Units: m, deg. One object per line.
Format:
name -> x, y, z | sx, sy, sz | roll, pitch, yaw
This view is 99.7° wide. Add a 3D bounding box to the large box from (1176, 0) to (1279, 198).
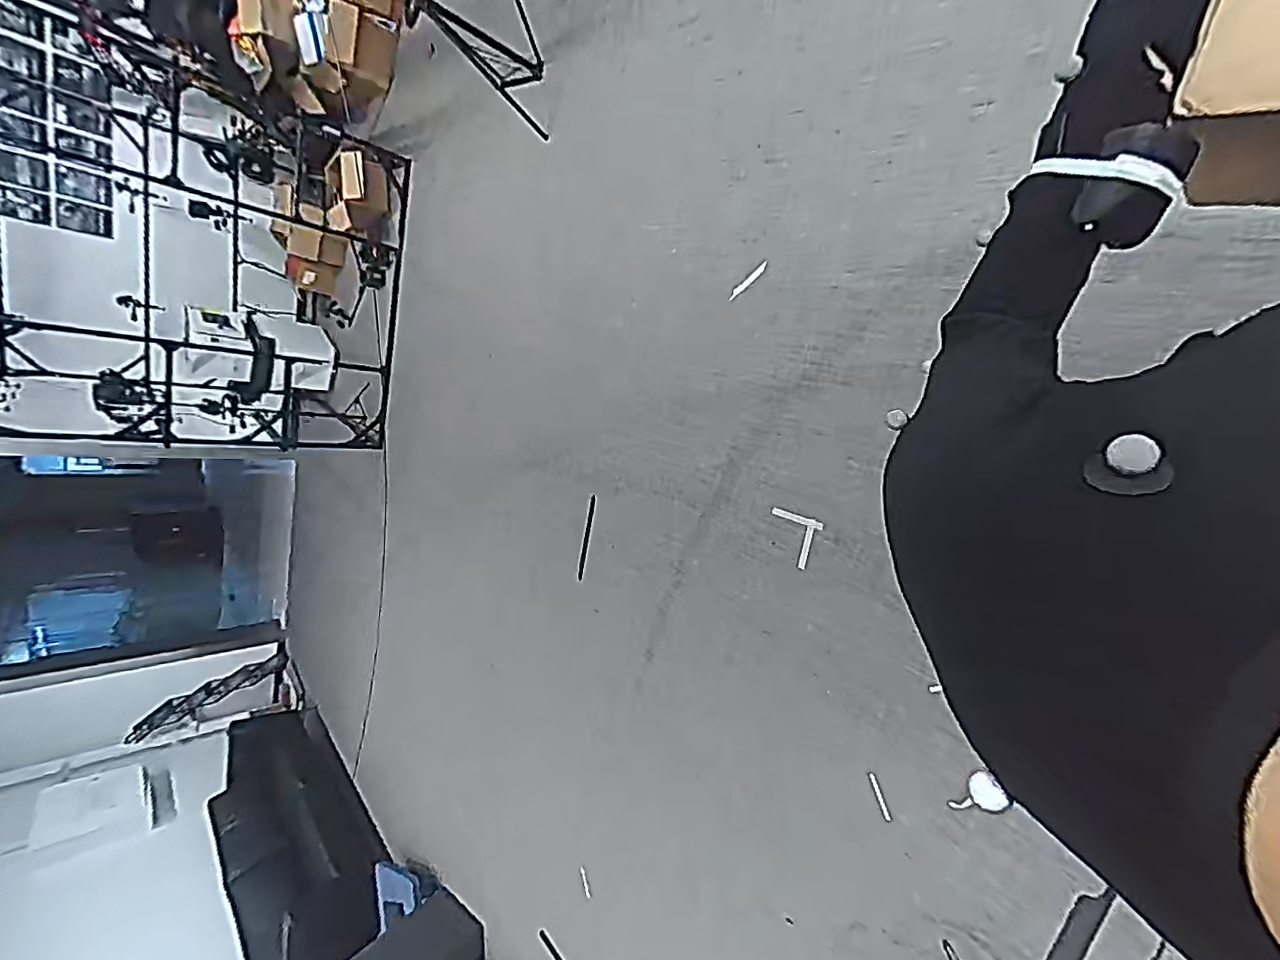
large box -> 0.621, -0.358, 0.294 | 0.408, 0.320, 0.320 | 25, 117, 40
